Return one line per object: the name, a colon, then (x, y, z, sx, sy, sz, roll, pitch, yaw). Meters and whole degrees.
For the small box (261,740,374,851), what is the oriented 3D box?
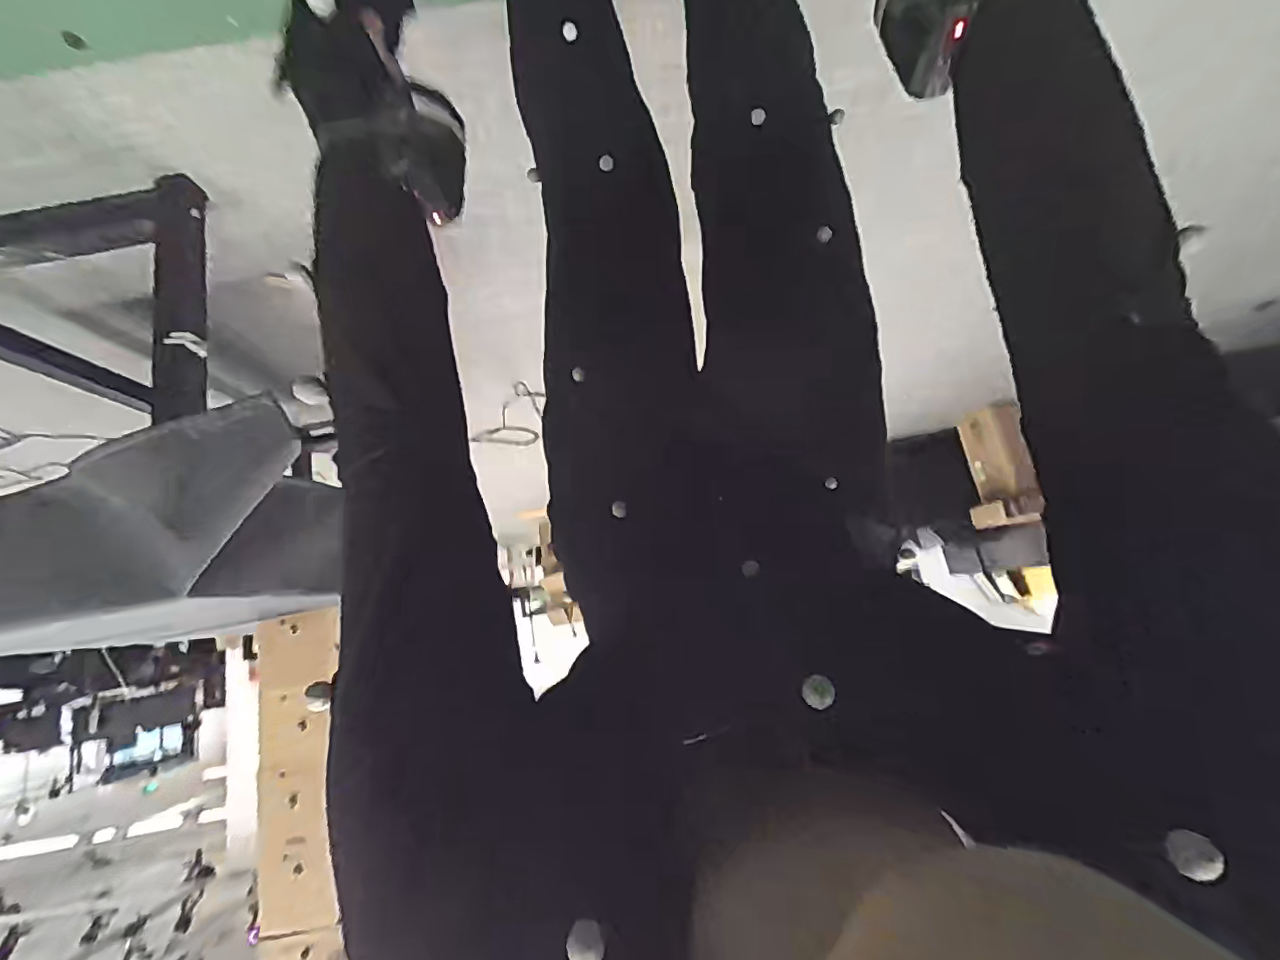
small box: (-0.742, 0.715, 1.250, 0.168, 0.176, 0.179, -9, 167, -1)

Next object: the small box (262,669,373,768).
small box: (-0.764, 0.557, 1.284, 0.168, 0.176, 0.179, -10, 167, 1)

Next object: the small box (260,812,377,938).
small box: (-0.718, 0.875, 1.219, 0.168, 0.176, 0.179, -11, 167, 0)

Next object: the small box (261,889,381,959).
small box: (-0.689, 1.032, 1.179, 0.168, 0.176, 0.179, -11, 168, -2)
